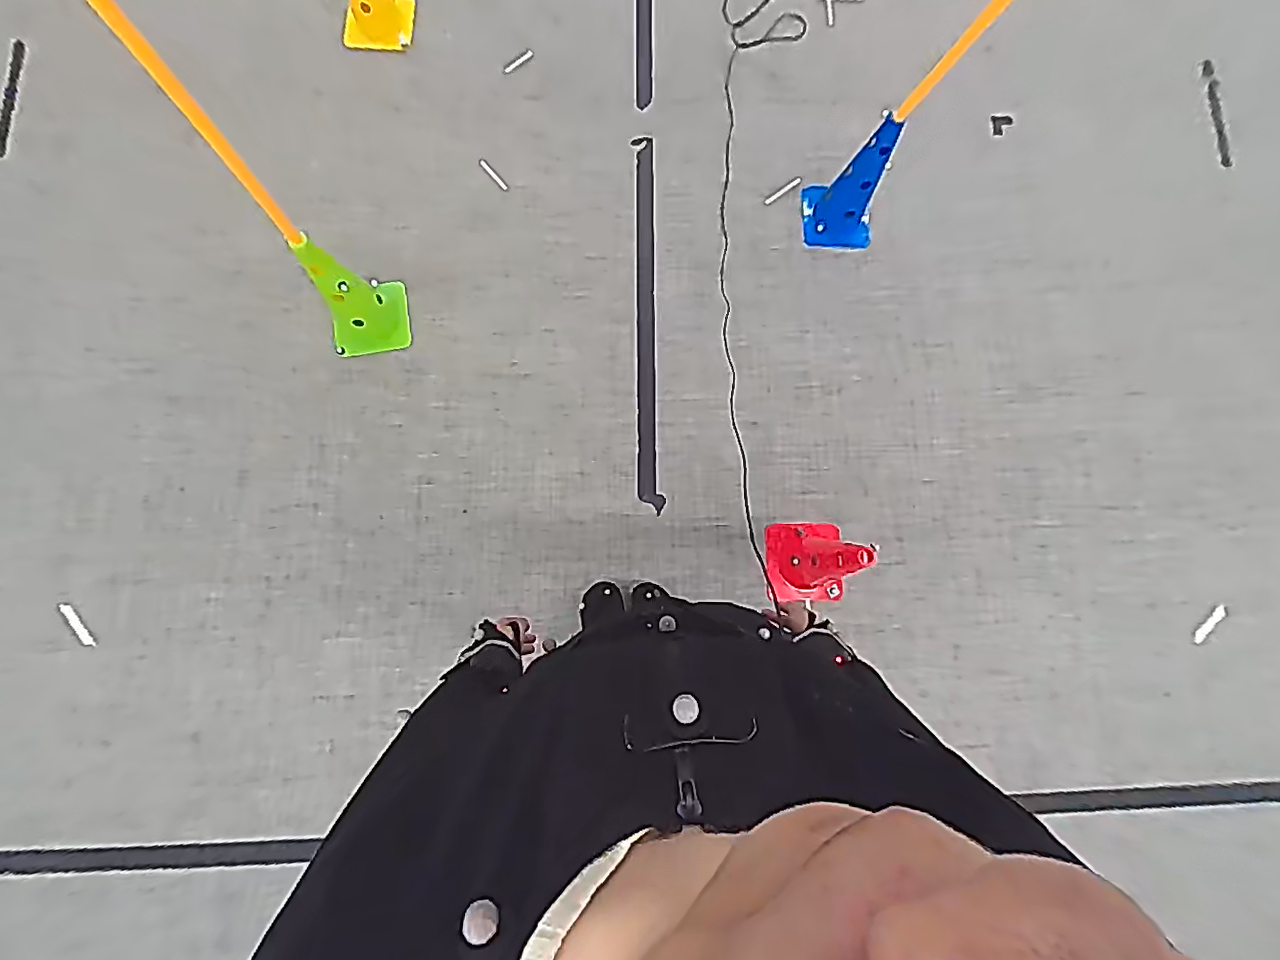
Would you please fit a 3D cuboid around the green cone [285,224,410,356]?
[{"bbox_3d":[-0.728,-0.478,1.307,0.200,0.368,0.202,-11,78,-5],"label":"green cone"}]

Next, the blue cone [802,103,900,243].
[{"bbox_3d":[0.586,-0.821,1.445,0.193,0.380,0.192,2,79,-2],"label":"blue cone"}]
